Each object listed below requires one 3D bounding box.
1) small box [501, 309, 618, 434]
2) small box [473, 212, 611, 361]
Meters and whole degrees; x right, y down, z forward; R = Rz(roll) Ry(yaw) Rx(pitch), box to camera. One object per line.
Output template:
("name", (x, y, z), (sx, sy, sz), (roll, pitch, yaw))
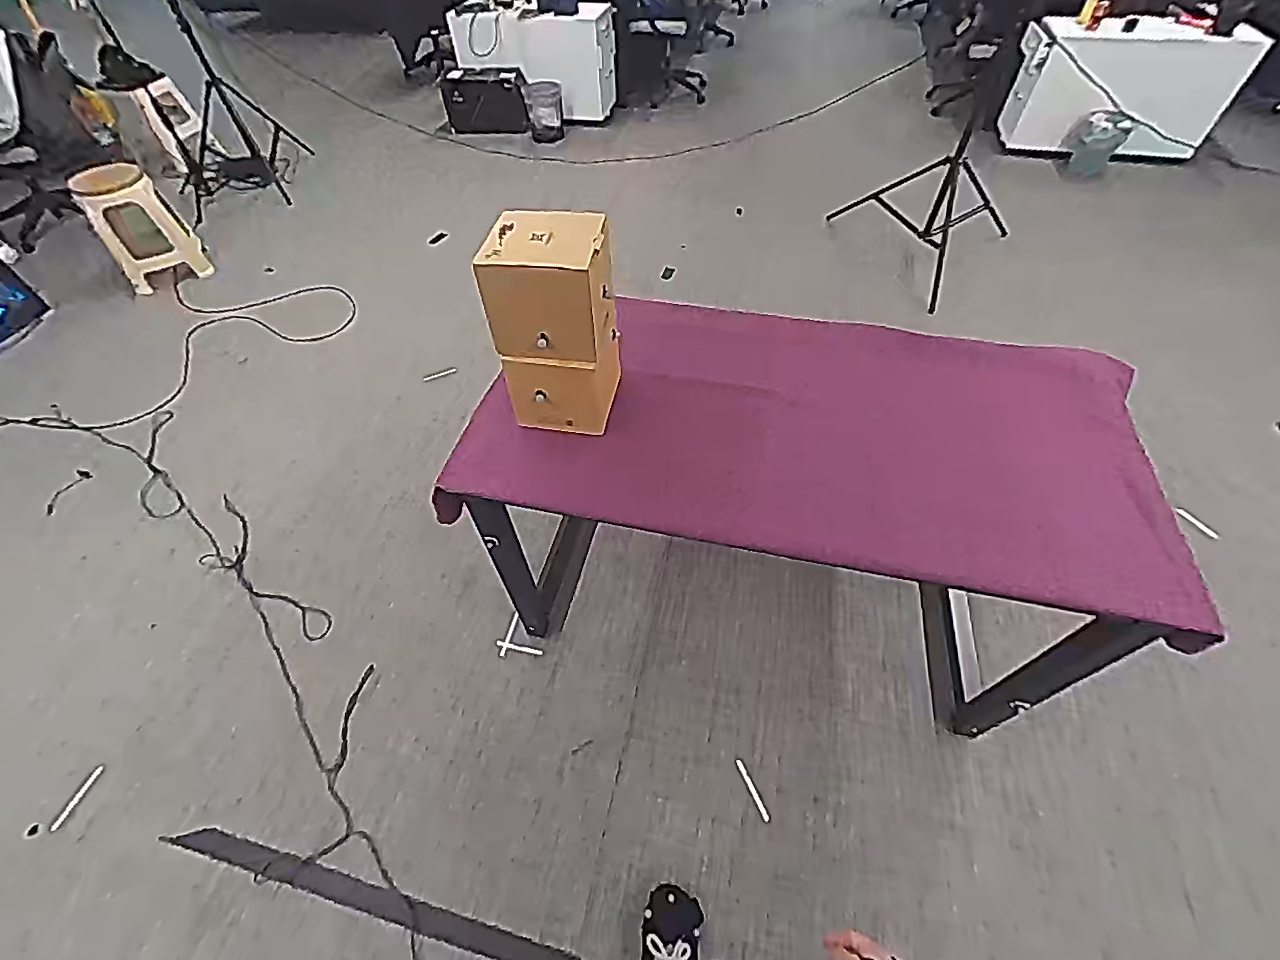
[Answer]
("small box", (-0.138, -0.205, 1.010), (0.168, 0.176, 0.179), (7, 52, 7))
("small box", (-0.146, -0.313, 0.886), (0.179, 0.176, 0.168), (6, 52, 5))
